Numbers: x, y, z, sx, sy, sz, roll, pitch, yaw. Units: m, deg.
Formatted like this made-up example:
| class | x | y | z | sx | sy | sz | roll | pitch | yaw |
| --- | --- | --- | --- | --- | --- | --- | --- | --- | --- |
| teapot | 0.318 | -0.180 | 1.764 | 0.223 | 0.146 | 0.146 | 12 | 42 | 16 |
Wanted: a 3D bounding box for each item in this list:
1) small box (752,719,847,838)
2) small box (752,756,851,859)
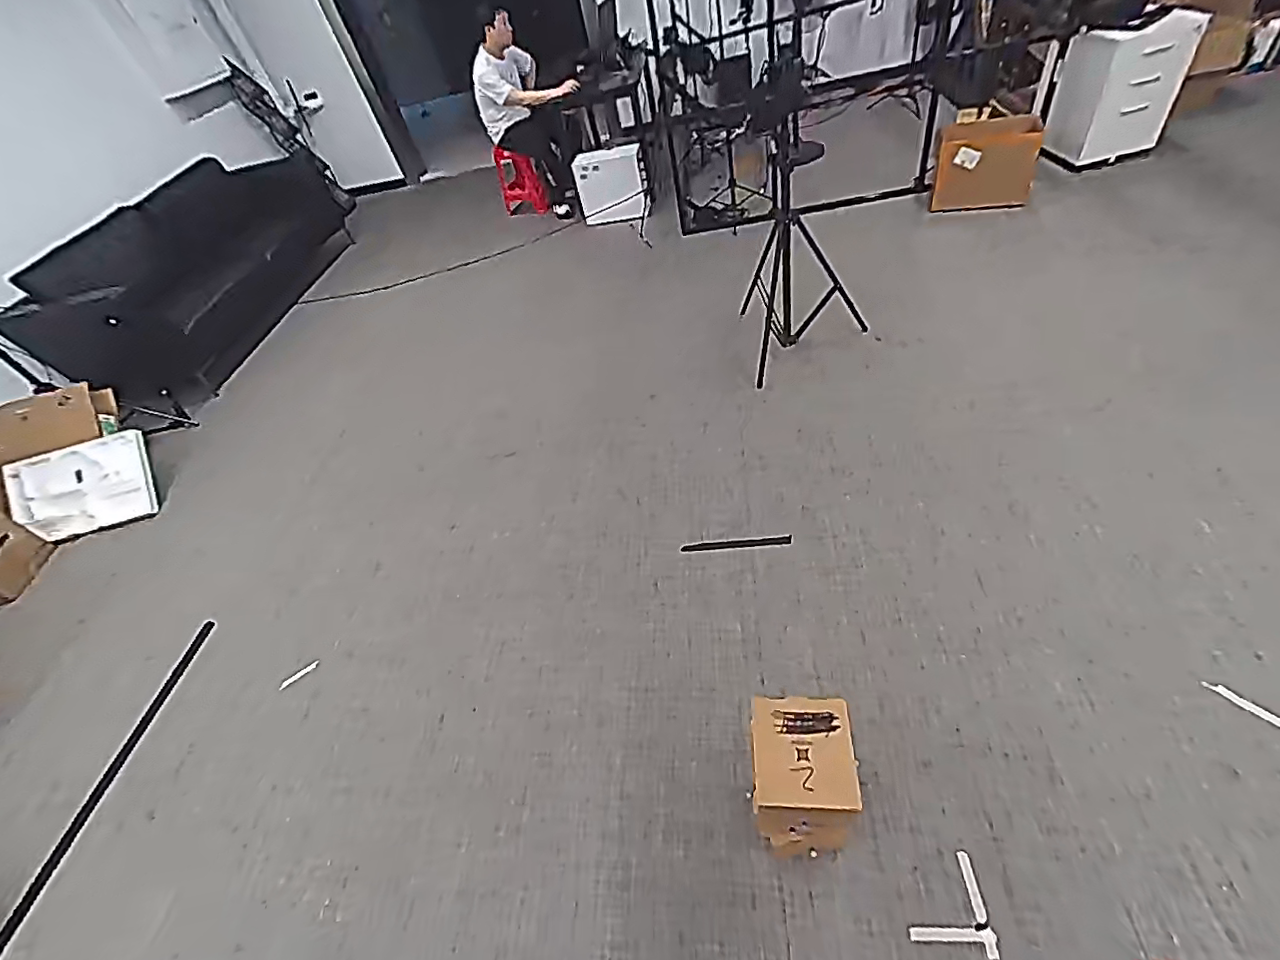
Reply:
| class | x | y | z | sx | sy | sz | roll | pitch | yaw |
| --- | --- | --- | --- | --- | --- | --- | --- | --- | --- |
| small box | 0.316 | 0.608 | 1.102 | 0.168 | 0.176 | 0.179 | -5 | 47 | 12 |
| small box | 0.355 | 0.721 | 1.213 | 0.168 | 0.176 | 0.179 | -14 | 46 | 4 |
